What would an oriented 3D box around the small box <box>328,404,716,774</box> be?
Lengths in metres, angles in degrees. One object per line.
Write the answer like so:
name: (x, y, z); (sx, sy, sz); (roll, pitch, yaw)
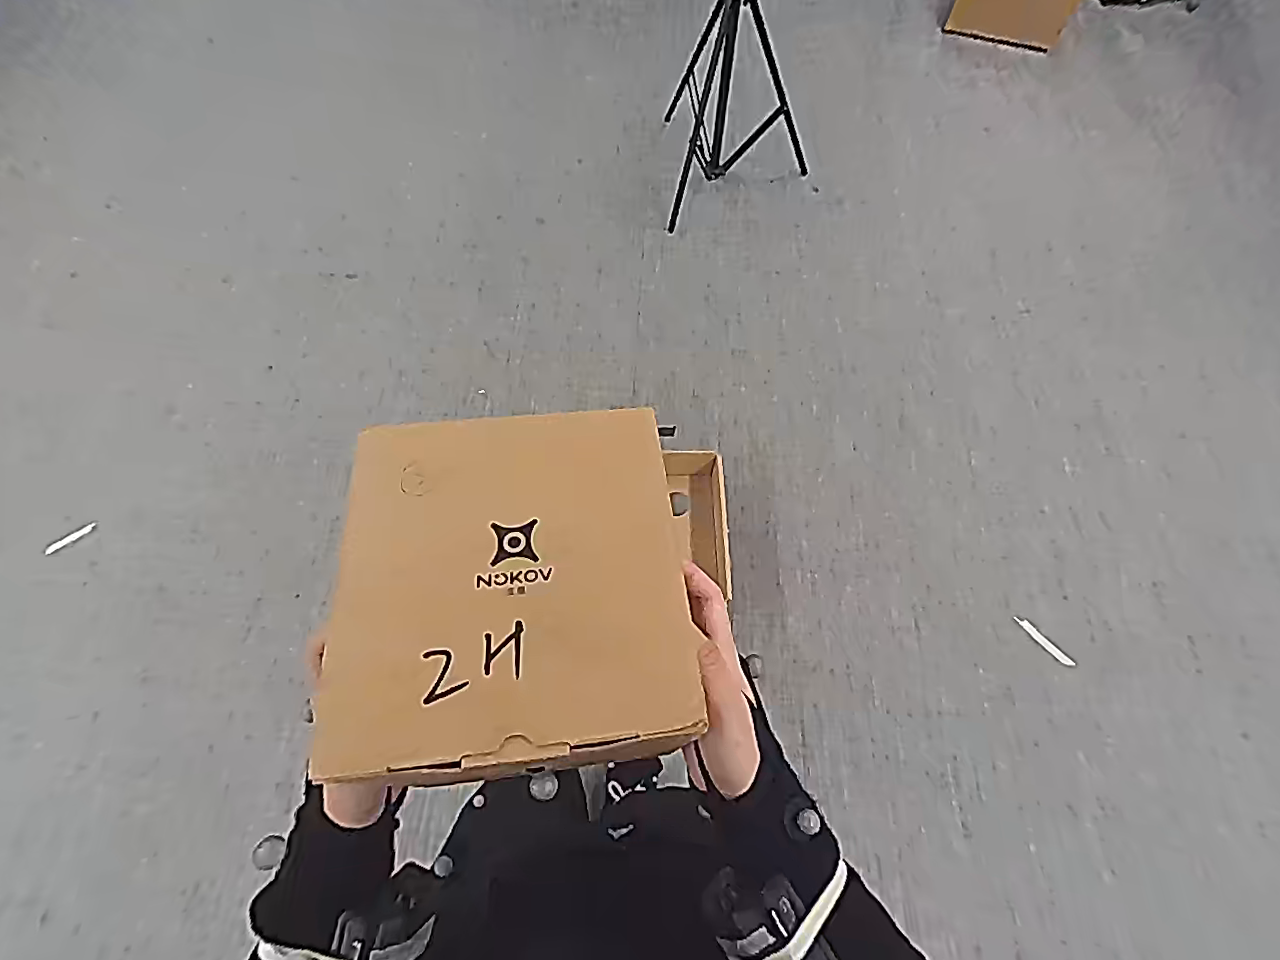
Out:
small box: (-0.061, 0.075, 0.338); (0.168, 0.176, 0.179); (-5, 61, -6)
